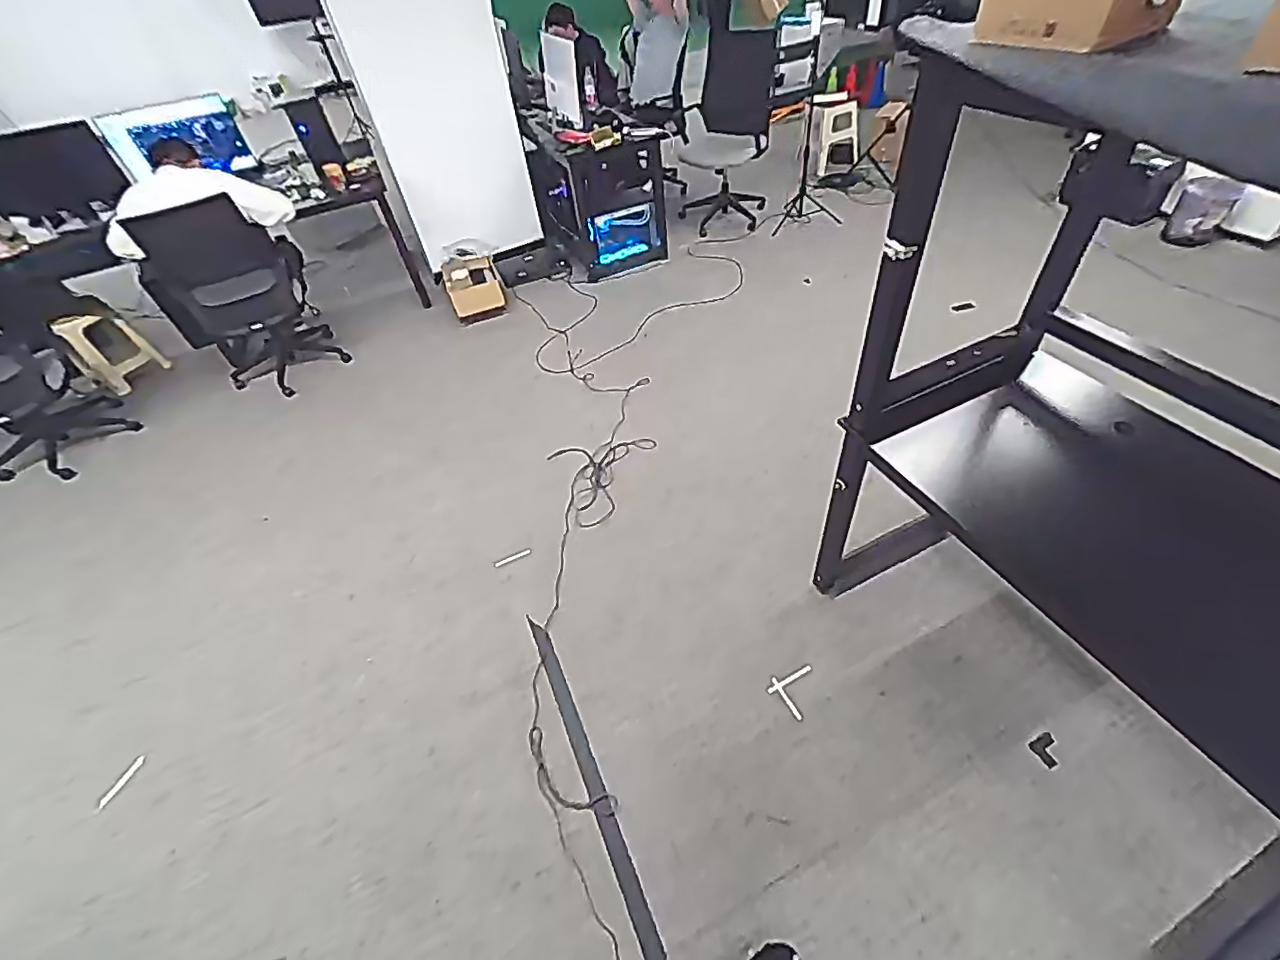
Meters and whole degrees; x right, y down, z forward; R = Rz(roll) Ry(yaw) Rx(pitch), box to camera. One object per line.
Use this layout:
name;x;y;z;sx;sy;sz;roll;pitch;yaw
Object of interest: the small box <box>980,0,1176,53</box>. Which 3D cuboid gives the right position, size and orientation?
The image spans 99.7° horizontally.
small box;0.558;-0.648;0.655;0.179;0.176;0.168;-29;50;-17
